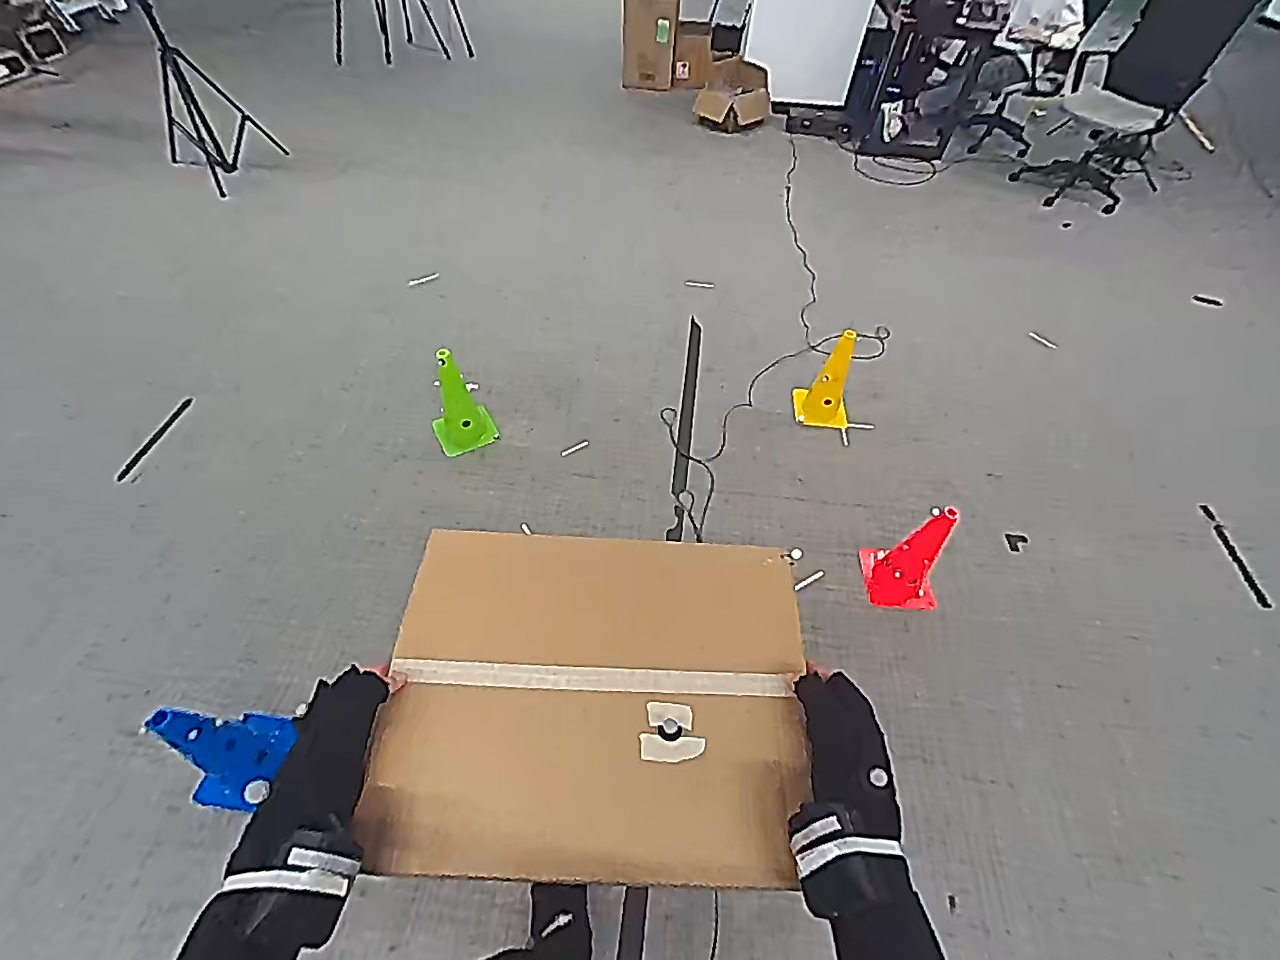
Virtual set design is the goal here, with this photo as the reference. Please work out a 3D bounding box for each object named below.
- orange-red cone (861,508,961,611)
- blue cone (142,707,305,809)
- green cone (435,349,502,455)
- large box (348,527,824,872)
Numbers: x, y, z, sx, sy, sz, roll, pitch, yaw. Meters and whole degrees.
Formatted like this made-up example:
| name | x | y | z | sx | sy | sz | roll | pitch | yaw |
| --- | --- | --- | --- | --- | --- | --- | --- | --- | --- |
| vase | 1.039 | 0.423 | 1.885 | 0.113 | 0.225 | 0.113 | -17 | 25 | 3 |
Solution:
| name | x | y | z | sx | sy | sz | roll | pitch | yaw |
| --- | --- | --- | --- | --- | --- | --- | --- | --- | --- |
| orange-red cone | 0.799 | 0.196 | 1.530 | 0.198 | 0.360 | 0.199 | 6 | 50 | 0 |
| blue cone | -0.913 | 0.563 | 1.160 | 0.192 | 0.380 | 0.193 | 9 | 51 | 5 |
| green cone | -0.625 | -0.293 | 1.842 | 0.202 | 0.368 | 0.200 | -24 | 56 | -19 |
| large box | -0.048 | 0.275 | 0.651 | 0.408 | 0.320 | 0.320 | 4 | 54 | -1 |
